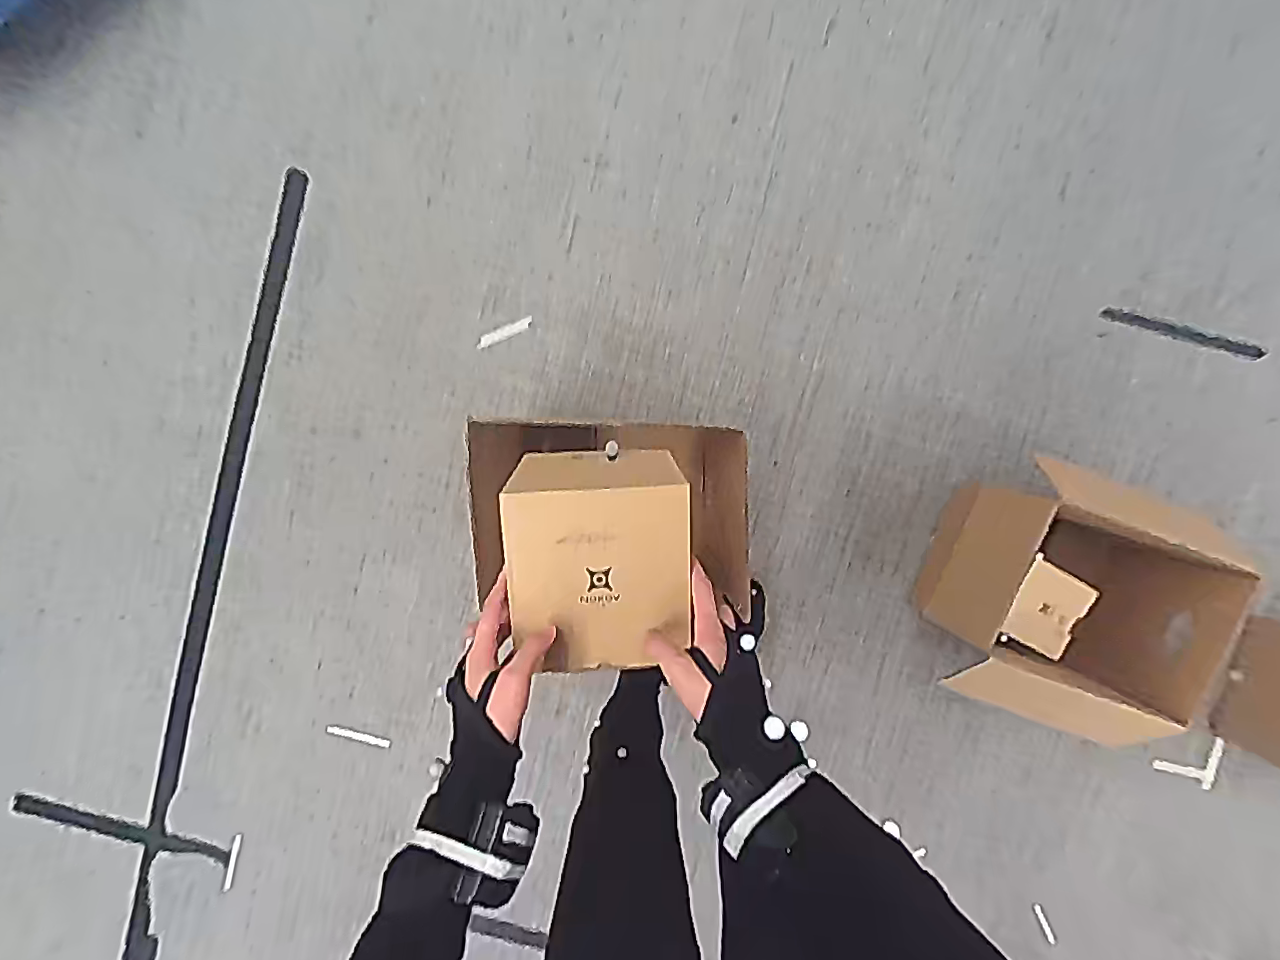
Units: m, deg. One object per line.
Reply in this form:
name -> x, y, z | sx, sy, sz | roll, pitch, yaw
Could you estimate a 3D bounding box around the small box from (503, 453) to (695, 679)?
small box -> -0.038, 0.077, 0.555 | 0.168, 0.176, 0.179 | -2, 105, -4
